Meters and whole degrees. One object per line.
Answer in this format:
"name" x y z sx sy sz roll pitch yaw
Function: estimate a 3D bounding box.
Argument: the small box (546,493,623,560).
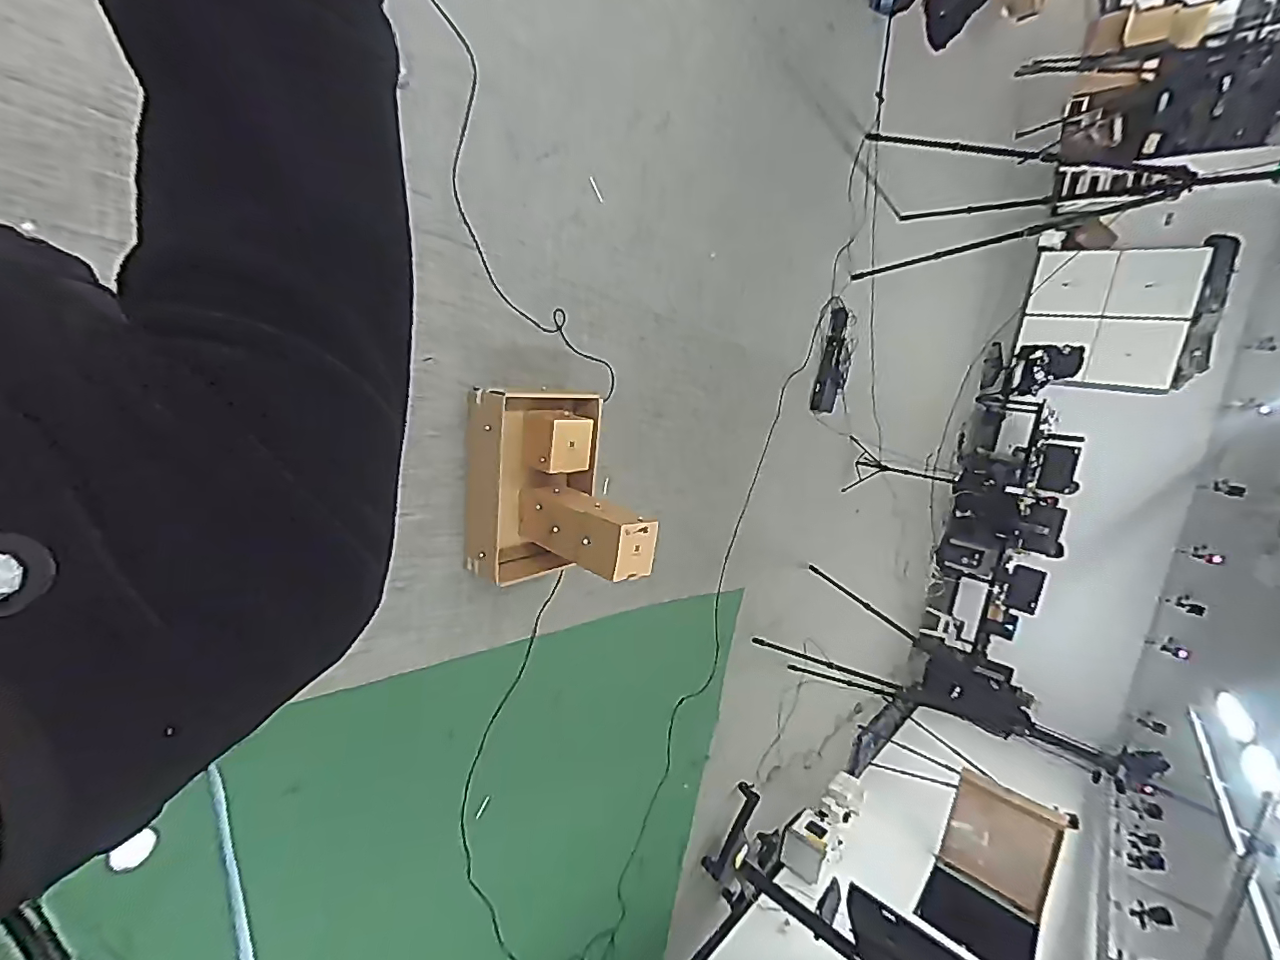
"small box" -0.184 0.146 1.773 0.179 0.176 0.168 -6 107 -47

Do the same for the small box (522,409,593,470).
"small box" -0.280 -0.141 1.815 0.168 0.176 0.179 -8 110 -46

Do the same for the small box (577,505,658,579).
"small box" -0.072 0.183 1.656 0.168 0.176 0.179 0 104 -48
